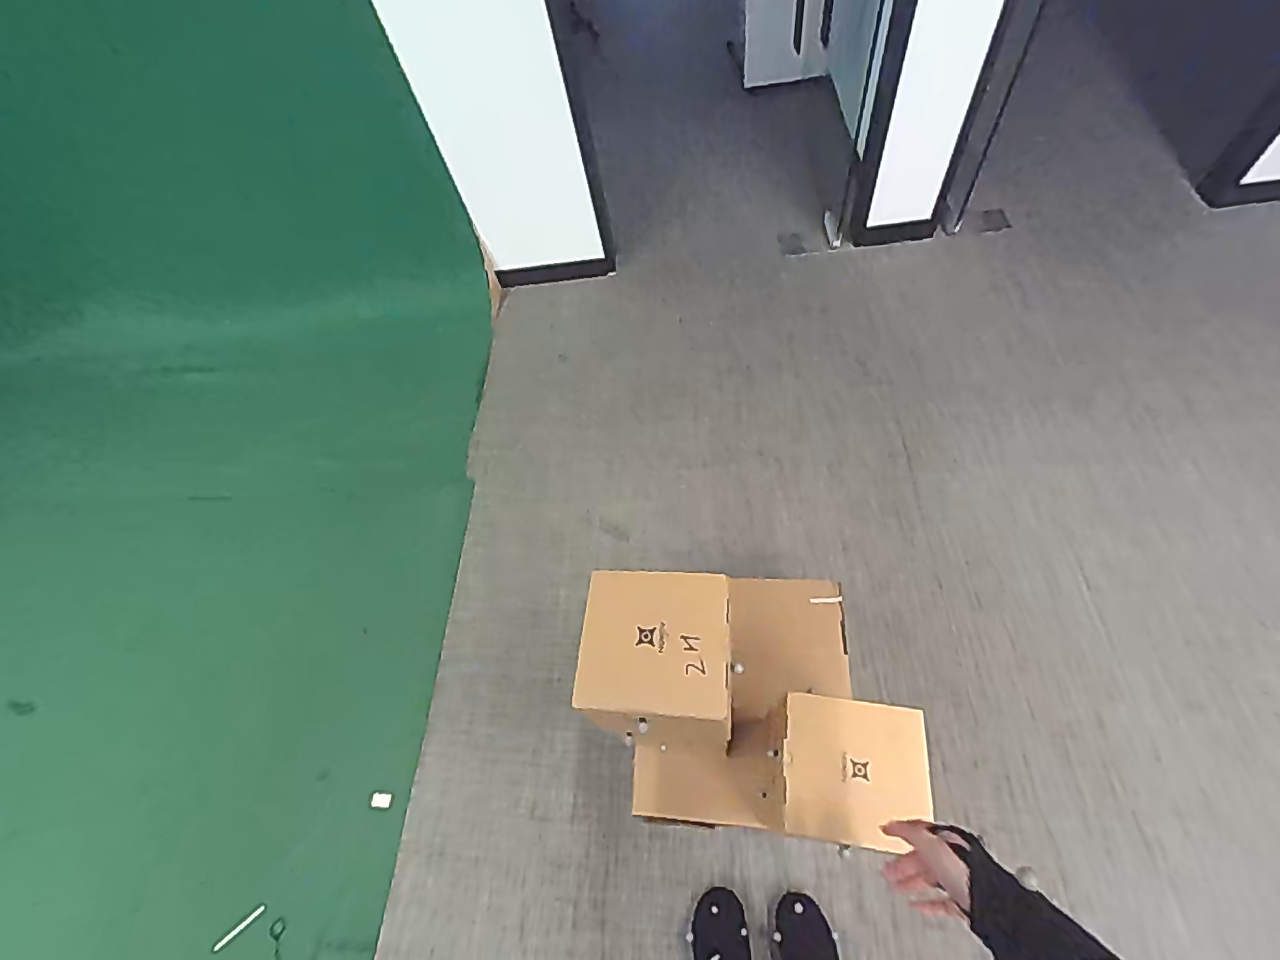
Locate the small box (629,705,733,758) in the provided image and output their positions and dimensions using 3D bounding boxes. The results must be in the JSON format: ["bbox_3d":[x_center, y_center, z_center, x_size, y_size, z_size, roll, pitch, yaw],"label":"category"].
[{"bbox_3d":[0.081,0.387,0.977,0.168,0.176,0.179,2,58,12],"label":"small box"}]

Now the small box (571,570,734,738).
[{"bbox_3d":[0.029,0.226,0.693,0.179,0.176,0.168,0,58,11],"label":"small box"}]

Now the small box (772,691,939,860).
[{"bbox_3d":[0.280,0.400,0.741,0.179,0.176,0.168,4,59,11],"label":"small box"}]

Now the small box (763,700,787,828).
[{"bbox_3d":[0.293,0.477,0.884,0.168,0.176,0.179,4,59,10],"label":"small box"}]
